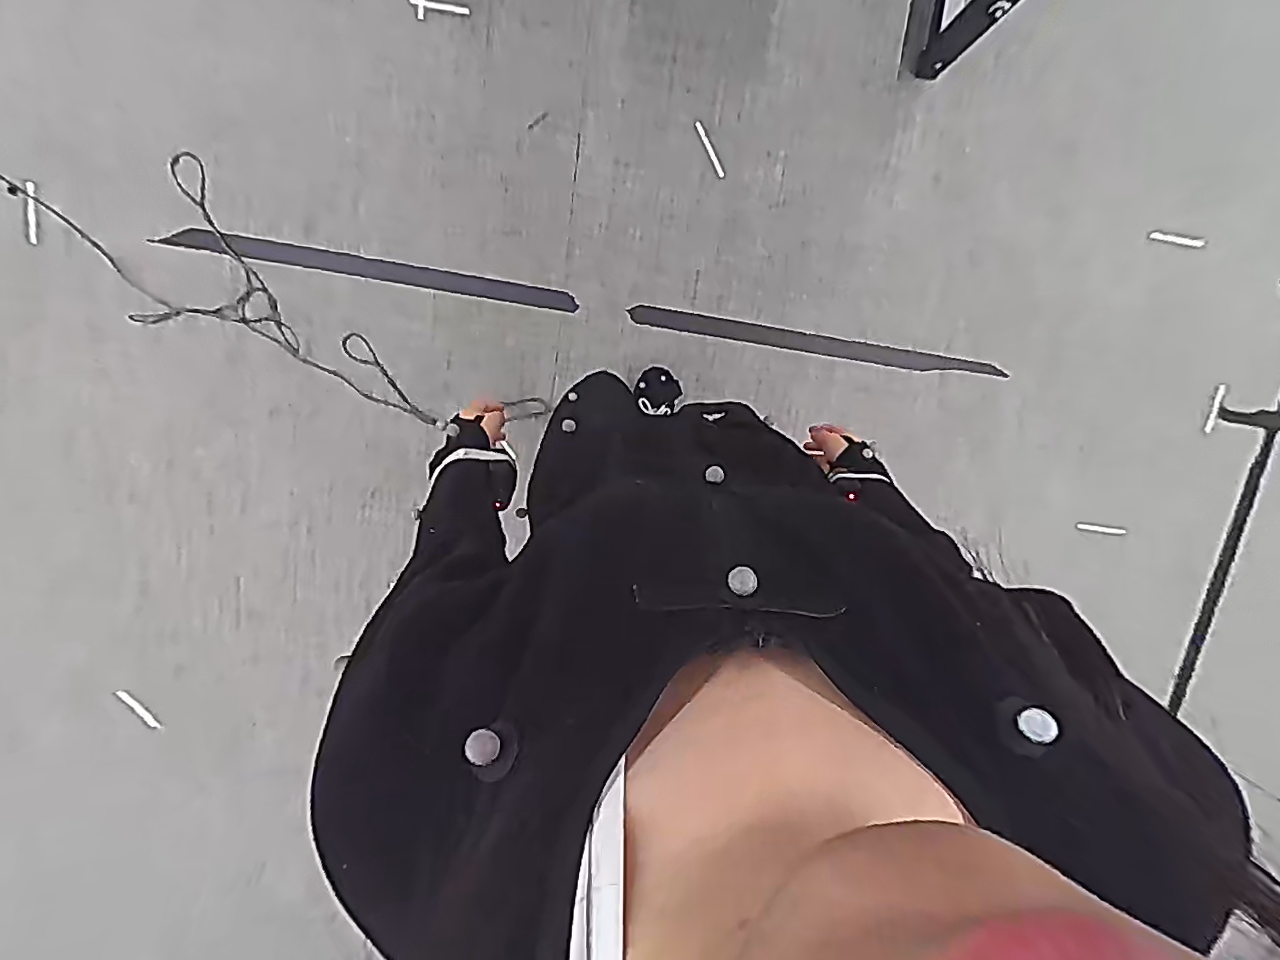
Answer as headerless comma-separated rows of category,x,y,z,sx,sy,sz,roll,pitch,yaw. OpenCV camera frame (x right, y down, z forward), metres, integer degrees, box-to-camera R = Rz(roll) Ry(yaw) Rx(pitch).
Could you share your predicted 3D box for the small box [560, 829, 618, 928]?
small box,-0.151,1.195,1.630,0.168,0.176,0.179,-2,102,-4
